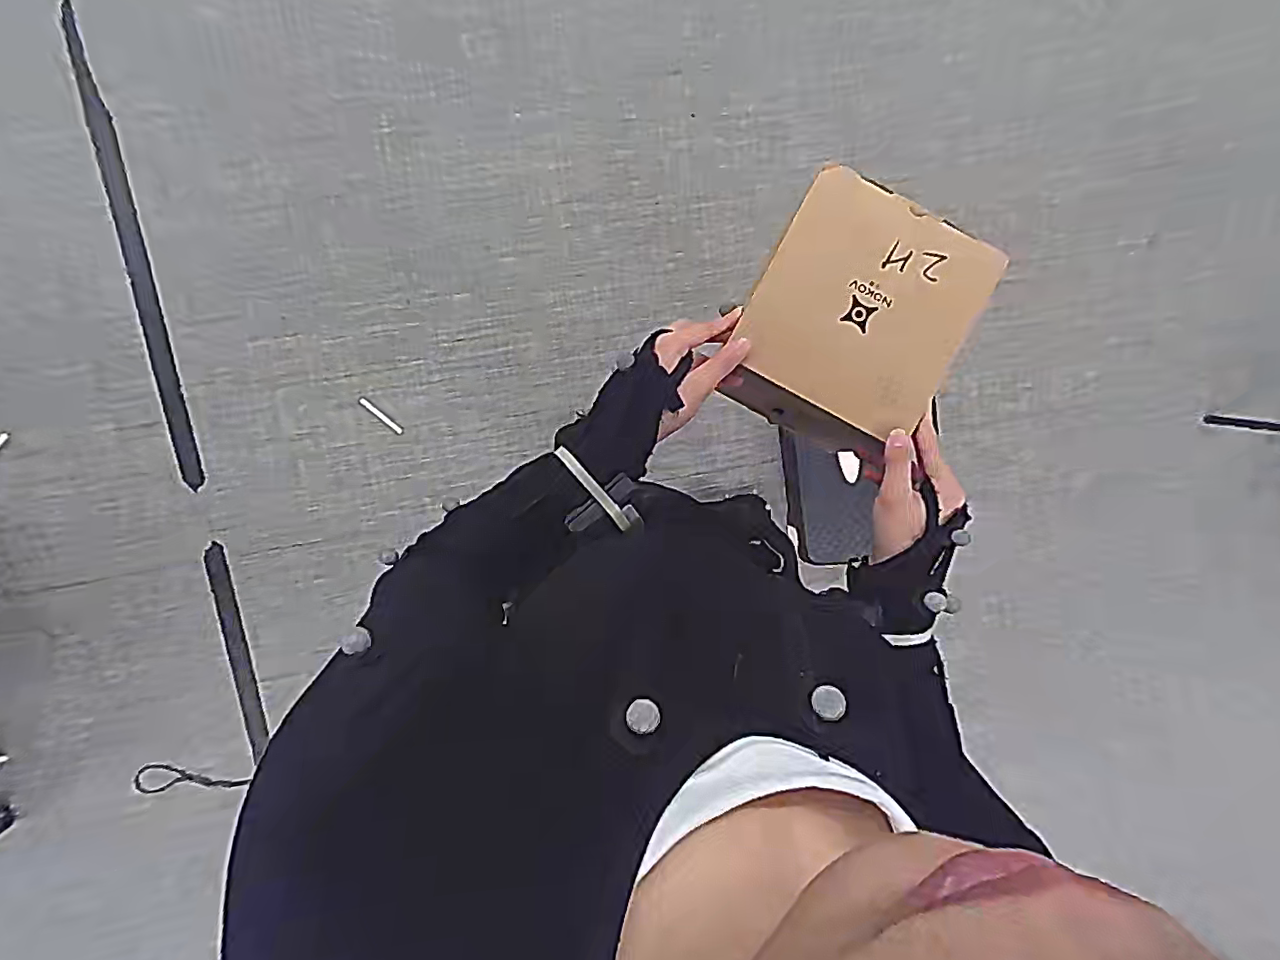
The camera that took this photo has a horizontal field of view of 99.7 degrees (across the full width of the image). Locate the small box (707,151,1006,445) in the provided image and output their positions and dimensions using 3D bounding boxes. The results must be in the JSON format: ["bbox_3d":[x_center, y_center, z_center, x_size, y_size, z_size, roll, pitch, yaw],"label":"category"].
[{"bbox_3d":[0.173,-0.143,0.498,0.168,0.176,0.179,28,92,-1],"label":"small box"}]
